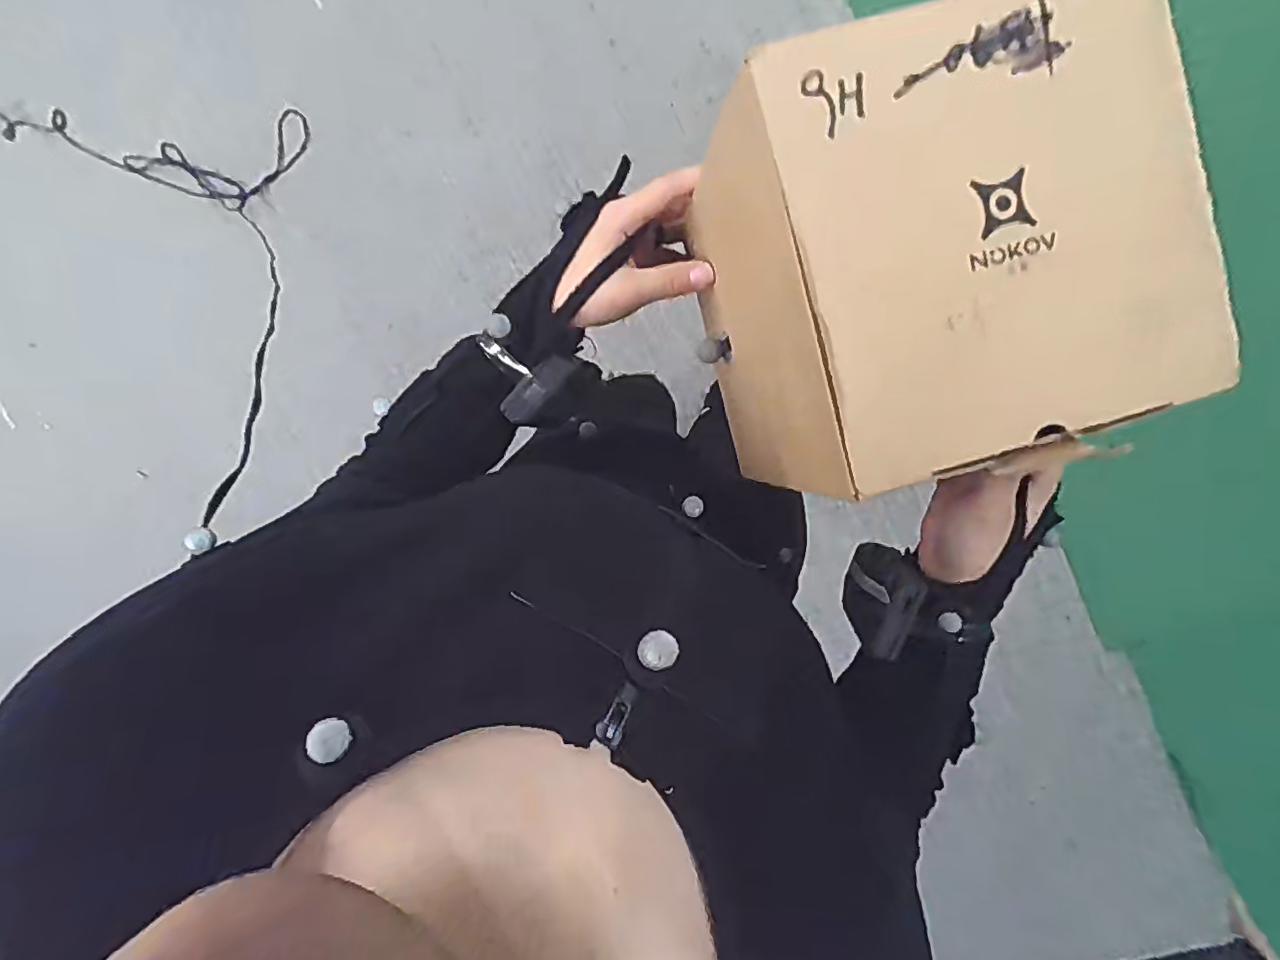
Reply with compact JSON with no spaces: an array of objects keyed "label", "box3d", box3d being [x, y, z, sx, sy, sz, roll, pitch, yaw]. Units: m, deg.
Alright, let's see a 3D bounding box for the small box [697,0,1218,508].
[{"label":"small box","box3d":[0.139,-0.097,0.295,0.168,0.176,0.179,-14,95,-3]}]
